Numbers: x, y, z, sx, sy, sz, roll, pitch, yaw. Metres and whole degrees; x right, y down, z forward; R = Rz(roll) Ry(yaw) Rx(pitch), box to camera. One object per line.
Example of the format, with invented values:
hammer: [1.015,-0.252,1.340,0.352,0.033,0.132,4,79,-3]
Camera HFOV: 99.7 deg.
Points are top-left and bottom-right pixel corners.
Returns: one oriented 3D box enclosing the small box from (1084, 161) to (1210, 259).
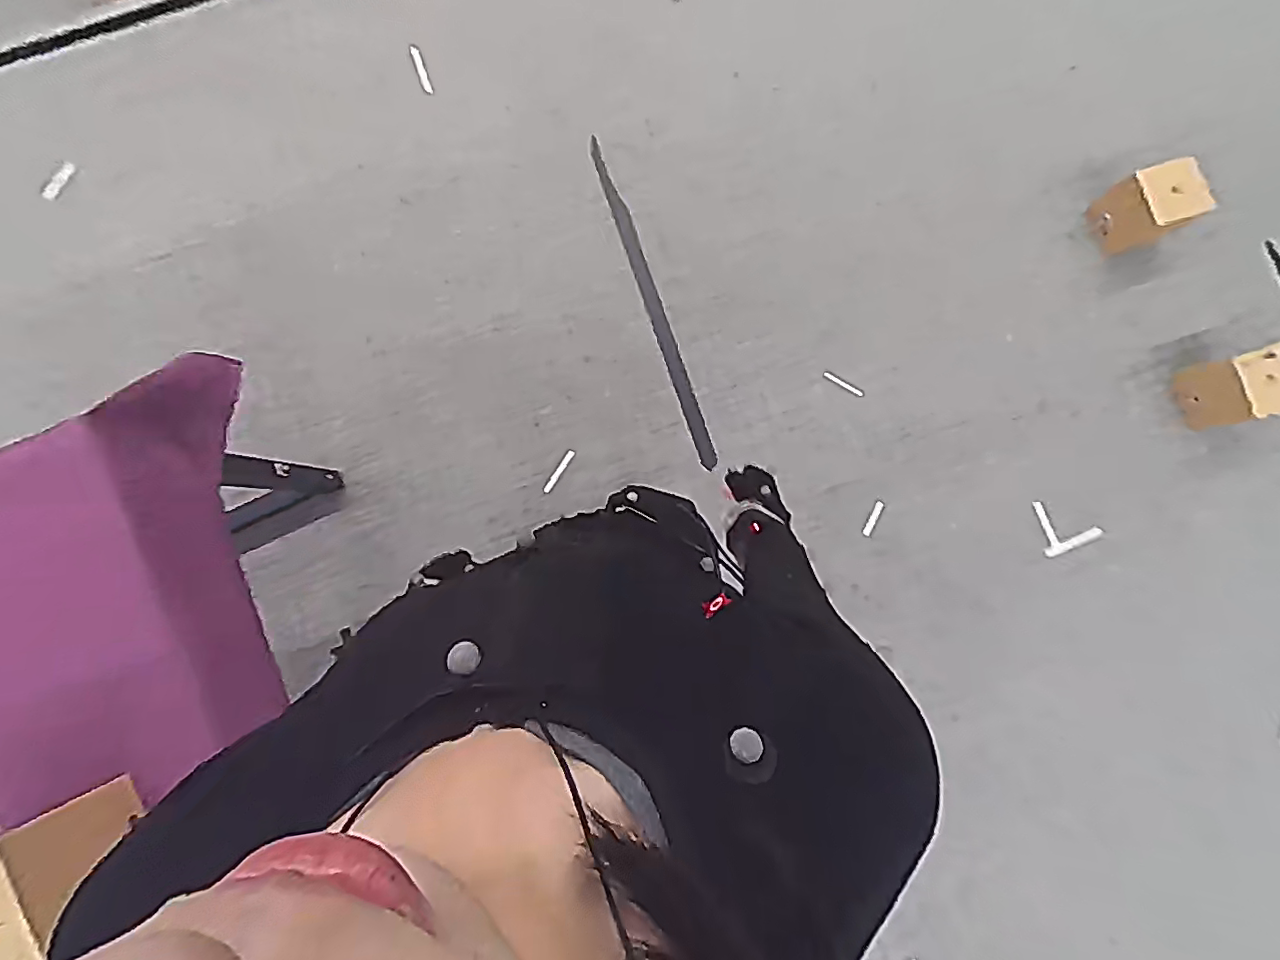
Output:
small box: [1.448,-0.769,1.556,0.179,0.176,0.168,-17,85,-2]

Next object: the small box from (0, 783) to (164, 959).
small box: [-0.753,0.515,0.656,0.179,0.176,0.168,-27,87,-4]

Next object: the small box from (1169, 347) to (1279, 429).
small box: [1.663,-0.249,1.519,0.168,0.176,0.179,-17,87,-2]
